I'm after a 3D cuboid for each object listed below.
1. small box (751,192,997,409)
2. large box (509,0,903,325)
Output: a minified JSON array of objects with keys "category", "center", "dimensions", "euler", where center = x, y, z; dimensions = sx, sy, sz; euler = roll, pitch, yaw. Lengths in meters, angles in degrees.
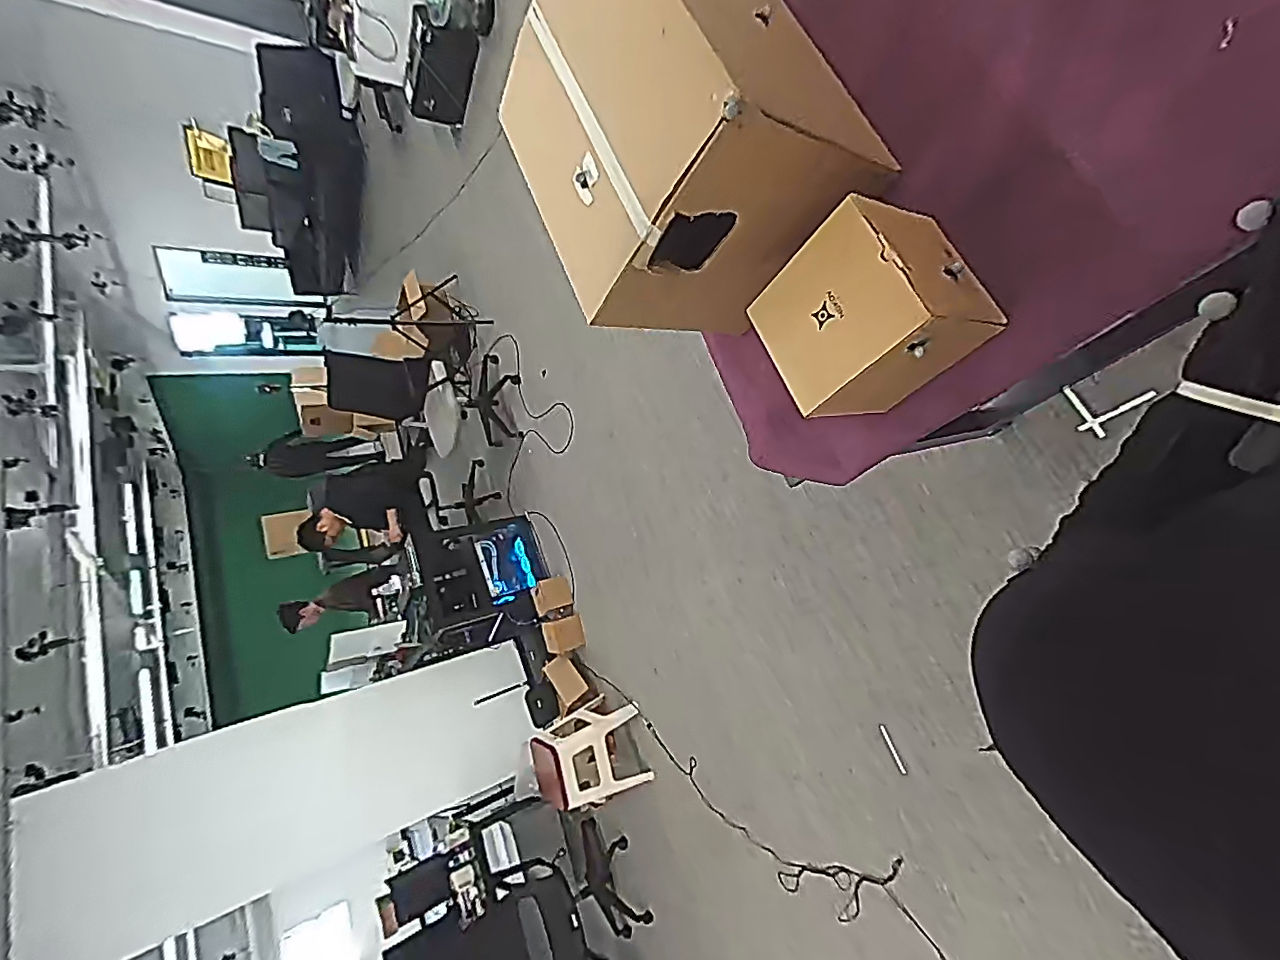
[{"category":"small box","center":[0.274,-0.200,0.648],"dimensions":[0.179,0.176,0.168],"euler":[-46,59,48]},{"category":"large box","center":[0.068,-0.472,0.751],"dimensions":[0.320,0.320,0.408],"euler":[-44,65,49]}]
